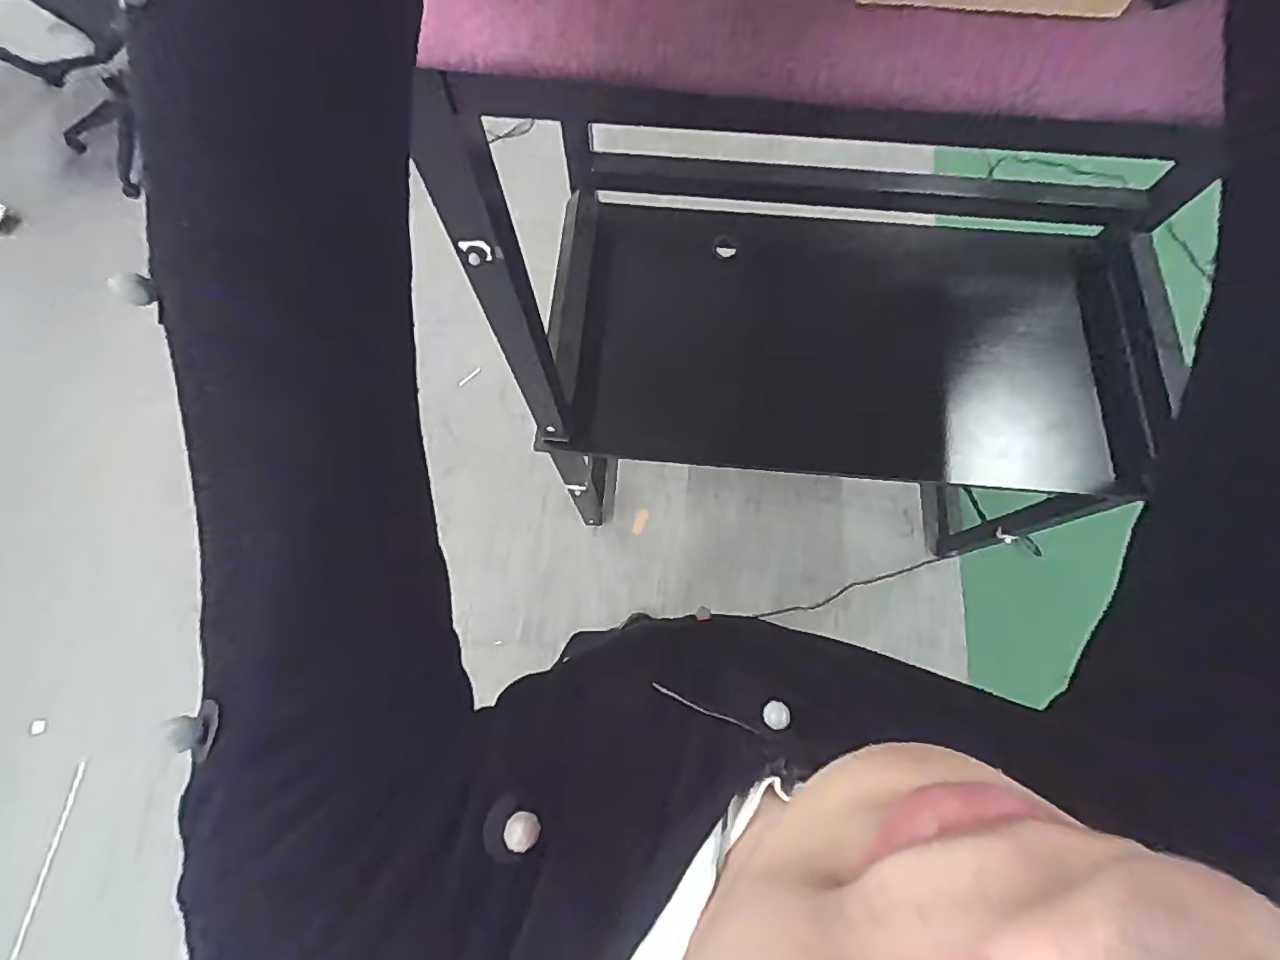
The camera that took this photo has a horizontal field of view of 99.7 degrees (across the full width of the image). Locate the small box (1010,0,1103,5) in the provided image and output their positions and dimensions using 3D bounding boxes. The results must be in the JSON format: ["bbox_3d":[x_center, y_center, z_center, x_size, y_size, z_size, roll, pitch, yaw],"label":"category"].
[{"bbox_3d":[0.224,-0.404,0.291,0.168,0.176,0.179,5,71,1],"label":"small box"}]
